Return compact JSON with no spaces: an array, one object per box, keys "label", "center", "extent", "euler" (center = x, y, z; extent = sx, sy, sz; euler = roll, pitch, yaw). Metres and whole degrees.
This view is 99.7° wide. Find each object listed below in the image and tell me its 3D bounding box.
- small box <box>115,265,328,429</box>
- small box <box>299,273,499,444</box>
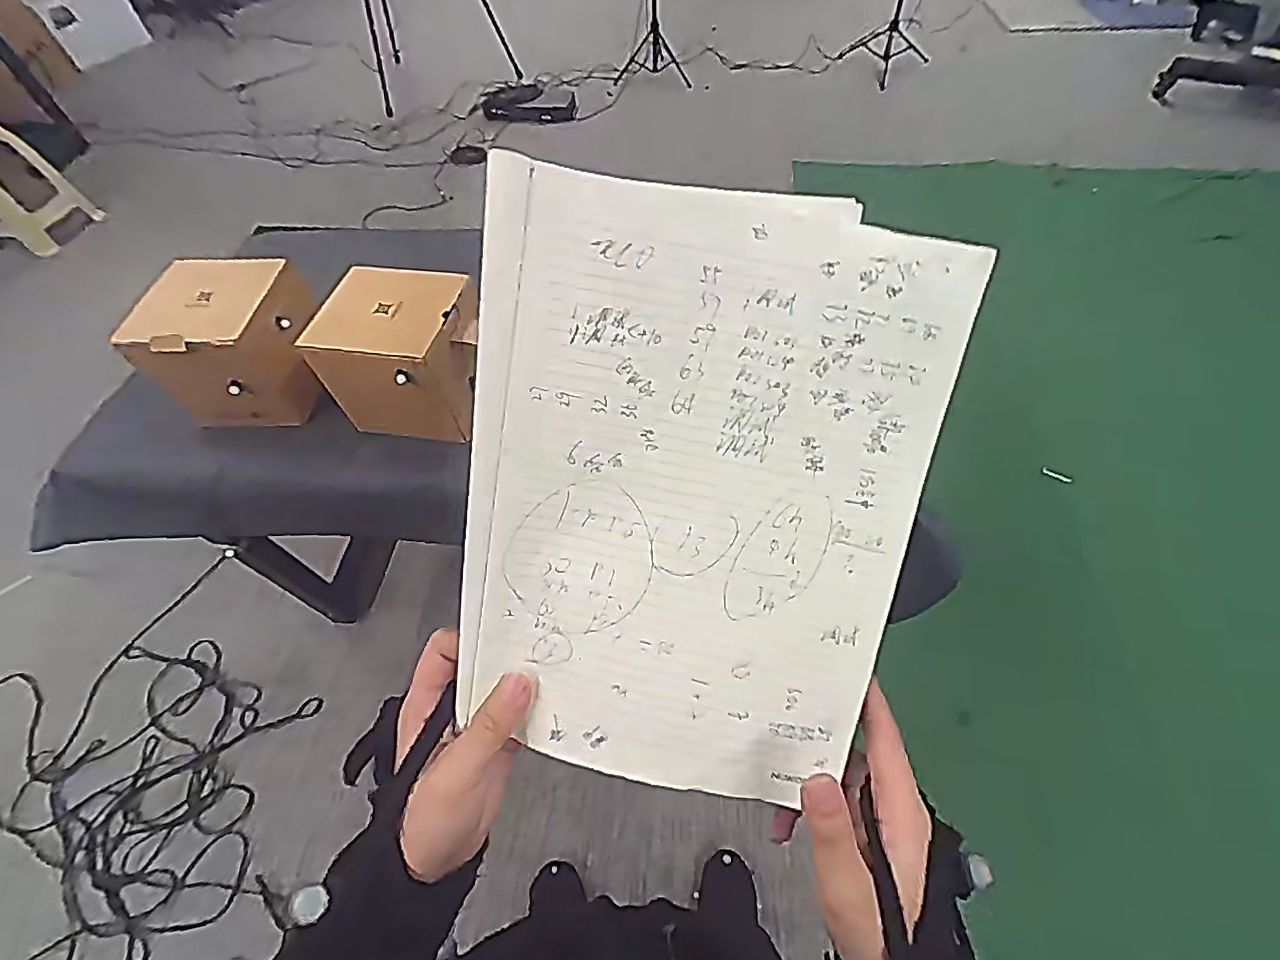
[{"label":"small box","center":[-0.580,-0.189,0.793],"extent":[0.168,0.176,0.179],"euler":[0,54,1]},{"label":"small box","center":[-0.322,-0.168,0.766],"extent":[0.179,0.176,0.168],"euler":[7,56,7]}]
